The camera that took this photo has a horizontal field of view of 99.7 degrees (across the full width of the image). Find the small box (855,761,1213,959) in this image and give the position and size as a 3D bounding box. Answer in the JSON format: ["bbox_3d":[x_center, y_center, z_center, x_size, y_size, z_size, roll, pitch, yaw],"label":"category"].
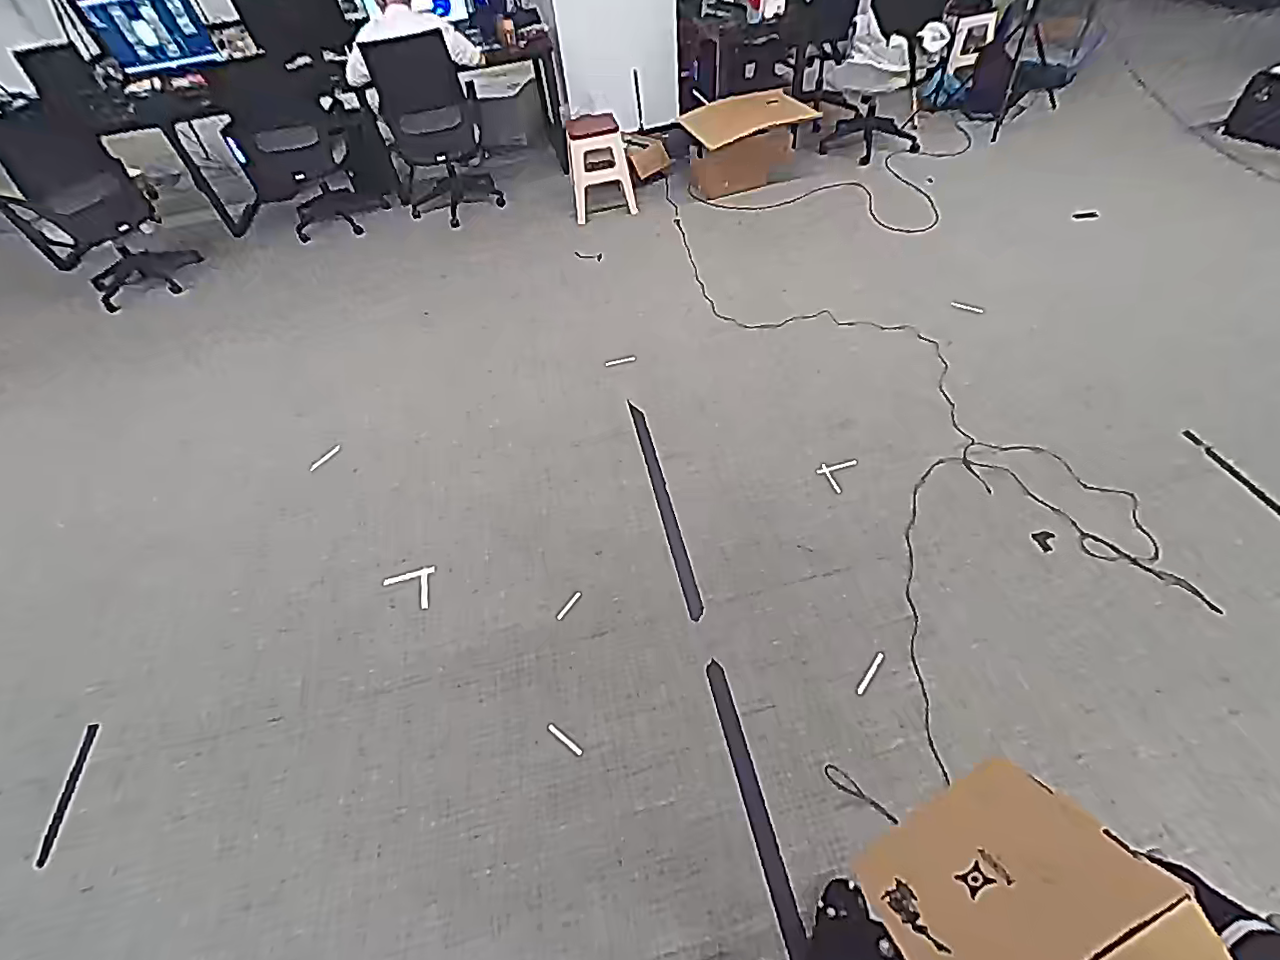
[{"bbox_3d":[0.318,0.380,0.432,0.179,0.168,0.176,-33,92,-2],"label":"small box"}]
